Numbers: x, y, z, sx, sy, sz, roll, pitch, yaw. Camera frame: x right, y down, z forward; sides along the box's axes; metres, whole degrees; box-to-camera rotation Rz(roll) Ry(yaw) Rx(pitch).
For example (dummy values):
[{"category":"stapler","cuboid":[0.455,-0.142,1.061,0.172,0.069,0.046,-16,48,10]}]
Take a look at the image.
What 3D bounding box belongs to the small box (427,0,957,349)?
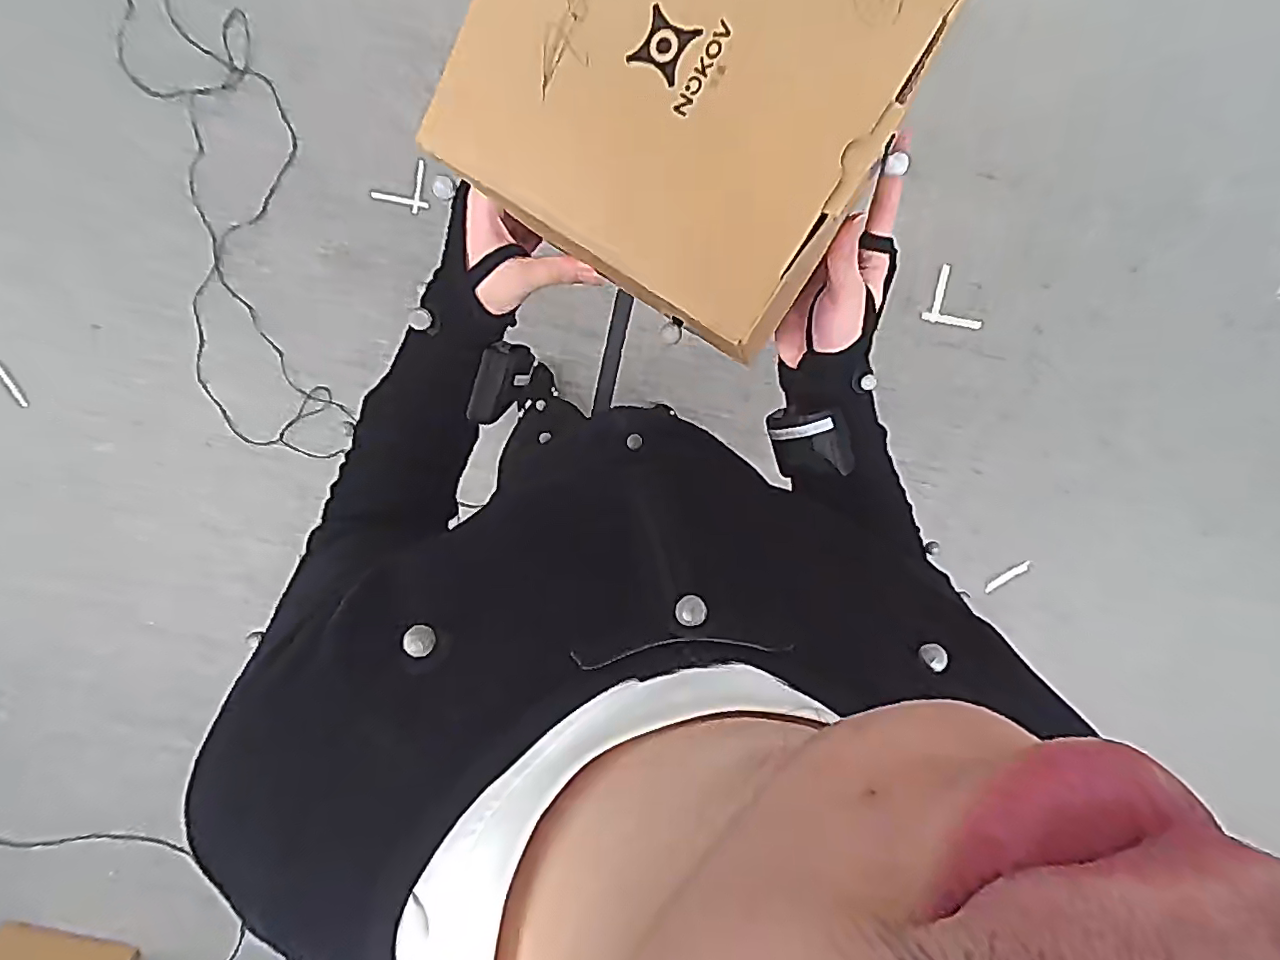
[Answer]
[{"category":"small box","cuboid":[0.028,-0.187,0.304,0.179,0.176,0.168,34,104,6]}]
